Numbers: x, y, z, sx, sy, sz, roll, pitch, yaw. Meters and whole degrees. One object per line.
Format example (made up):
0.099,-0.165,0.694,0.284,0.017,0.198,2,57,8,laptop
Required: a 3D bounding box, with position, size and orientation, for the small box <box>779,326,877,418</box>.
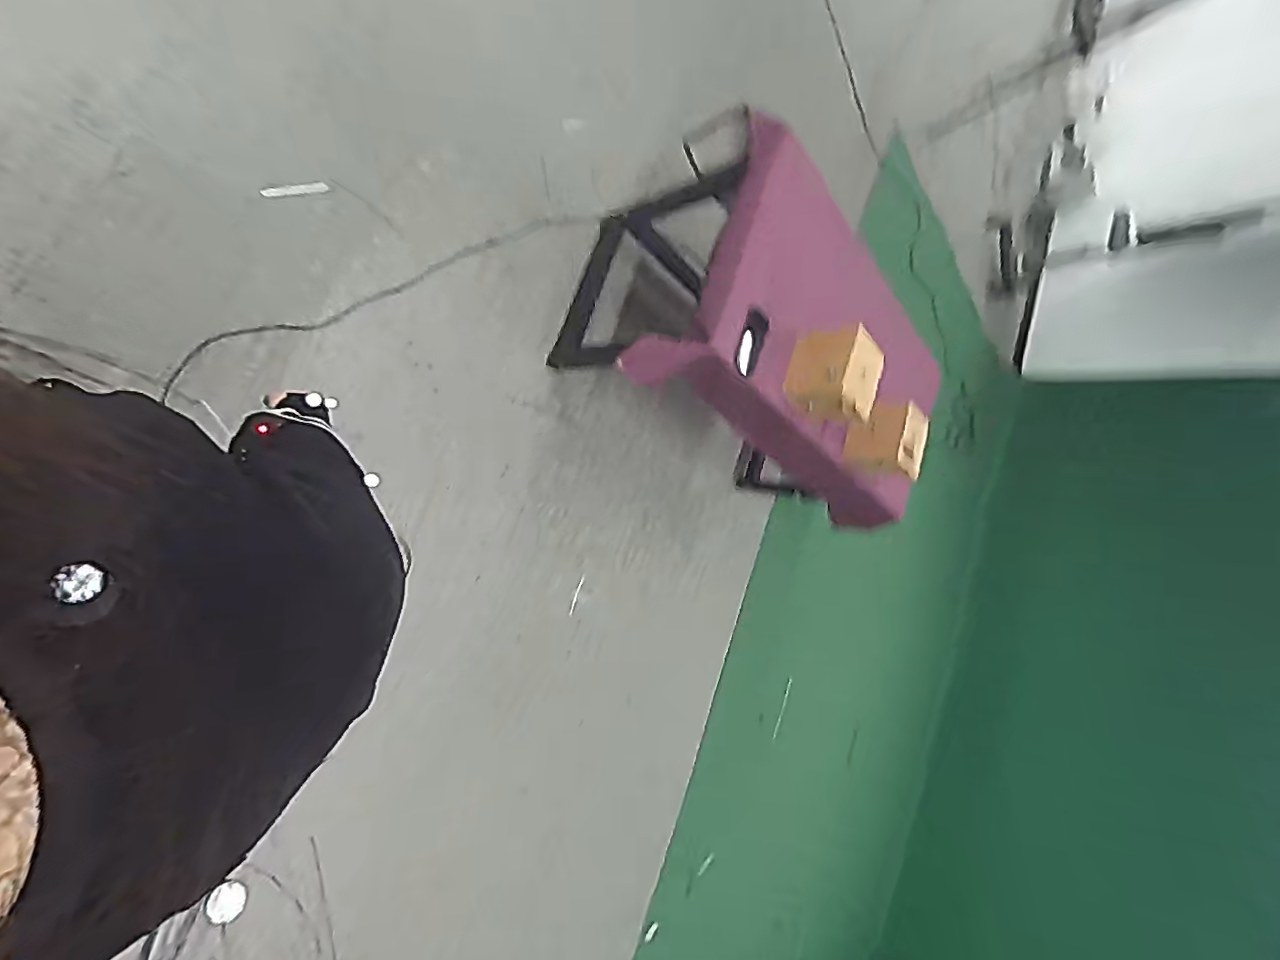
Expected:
0.487,-0.276,1.409,0.168,0.176,0.179,29,77,-42,small box
